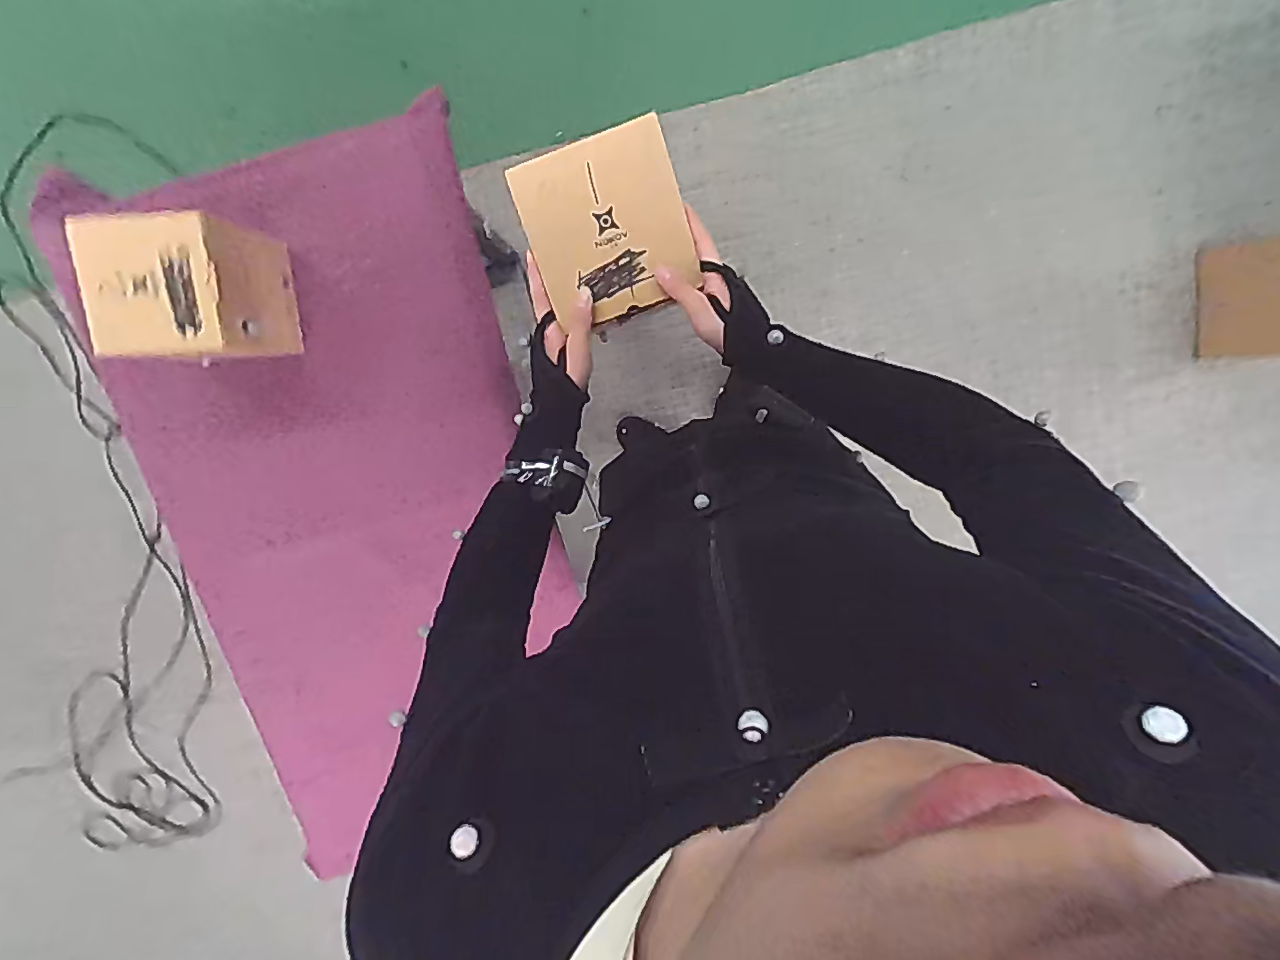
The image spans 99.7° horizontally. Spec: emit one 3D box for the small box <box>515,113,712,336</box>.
[{"bbox_3d":[-0.022,-0.279,0.634,0.168,0.176,0.179,-18,103,5],"label":"small box"}]
